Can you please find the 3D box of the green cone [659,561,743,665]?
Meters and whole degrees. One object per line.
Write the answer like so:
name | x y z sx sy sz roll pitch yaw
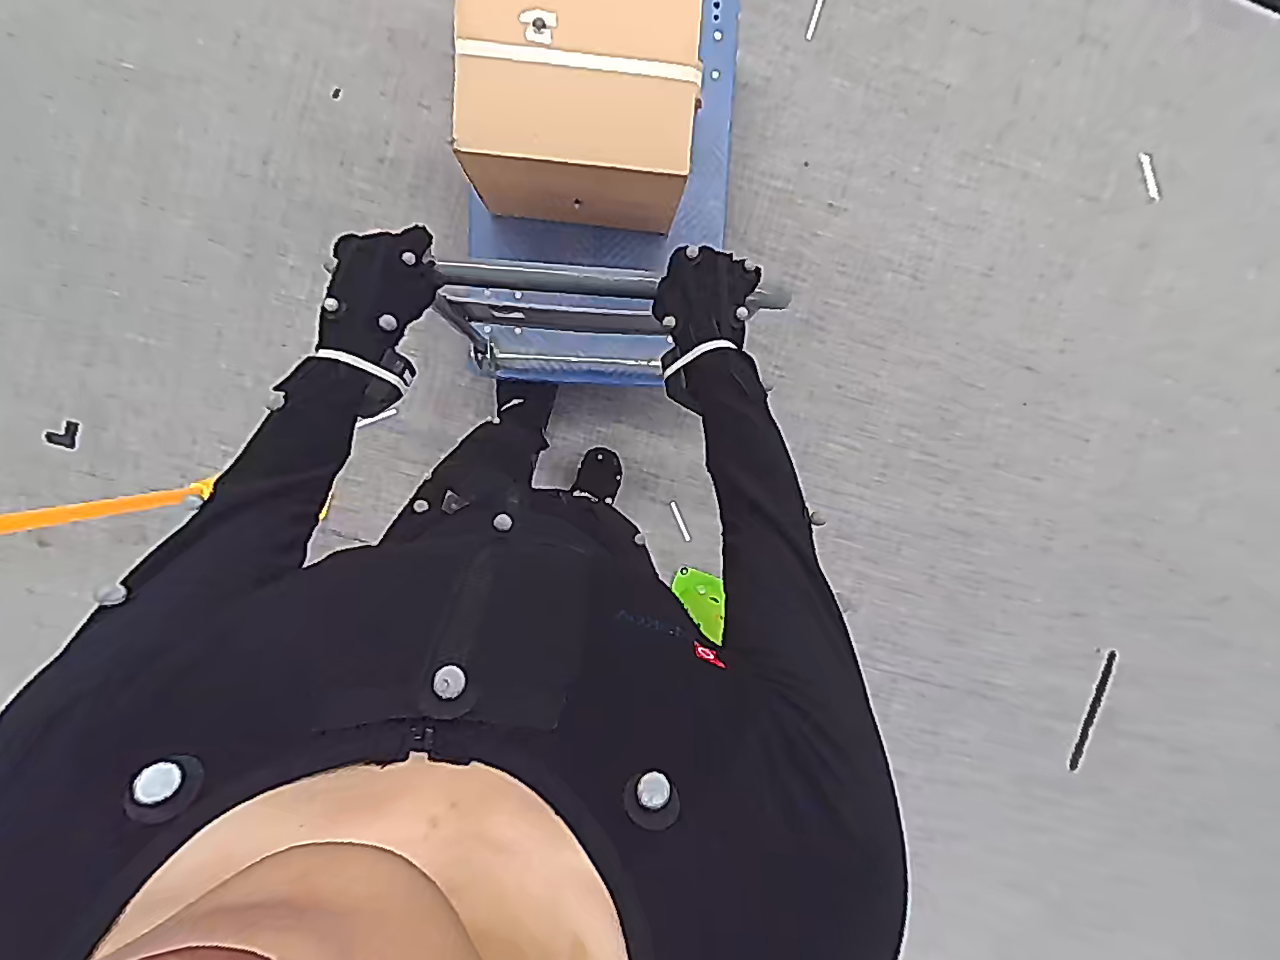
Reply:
green cone | 0.185 0.365 1.354 0.202 0.368 0.200 20 95 -7

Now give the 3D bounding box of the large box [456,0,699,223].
large box | -0.112 -0.721 1.058 0.408 0.320 0.320 4 97 -3
